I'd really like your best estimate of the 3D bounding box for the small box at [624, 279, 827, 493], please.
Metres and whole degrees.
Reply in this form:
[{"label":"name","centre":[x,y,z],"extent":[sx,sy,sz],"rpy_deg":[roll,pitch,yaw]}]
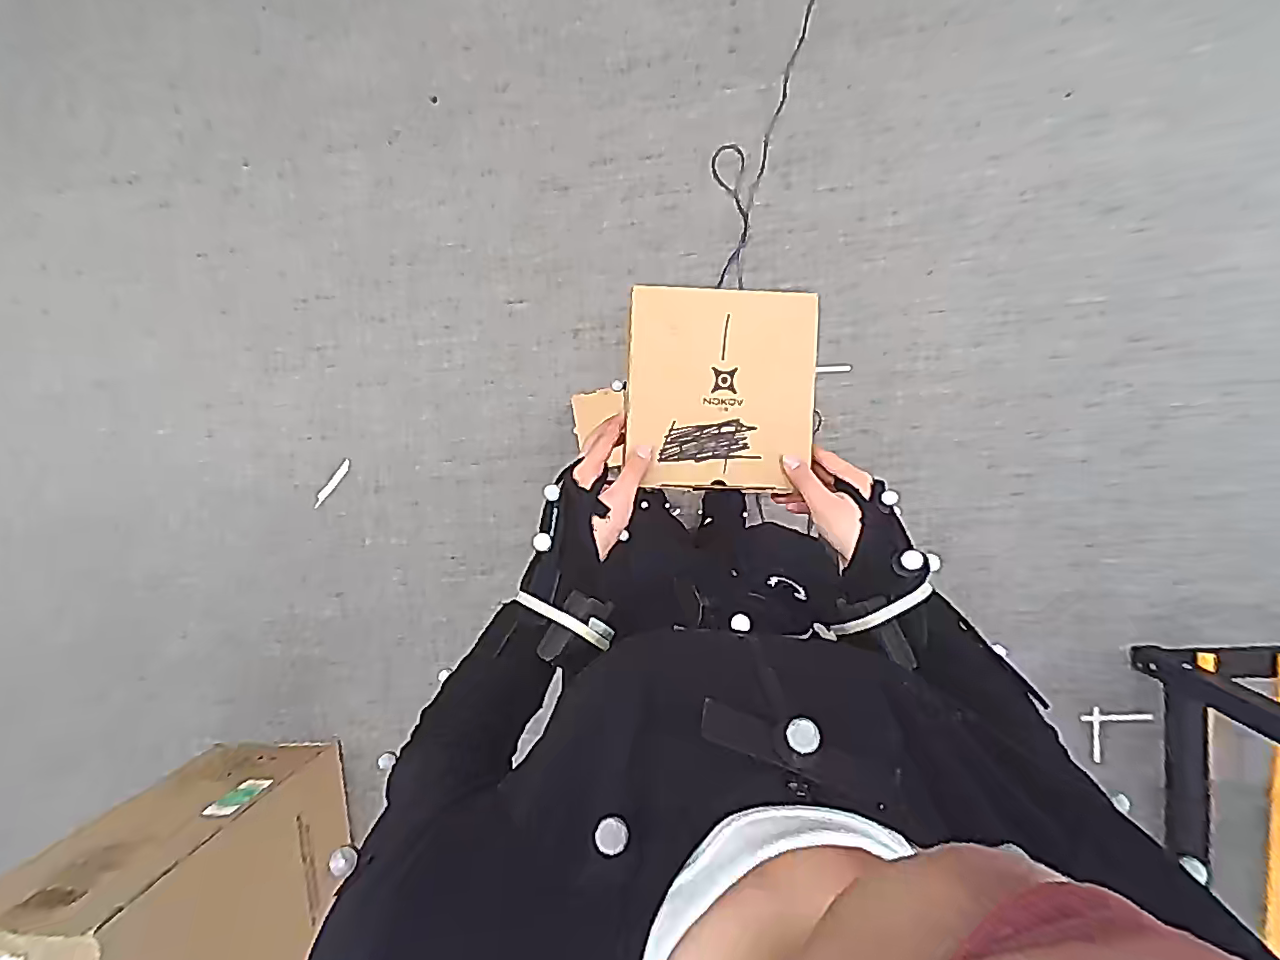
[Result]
[{"label":"small box","centre":[0.070,-0.083,0.538],"extent":[0.168,0.176,0.179],"rpy_deg":[2,93,-3]}]
